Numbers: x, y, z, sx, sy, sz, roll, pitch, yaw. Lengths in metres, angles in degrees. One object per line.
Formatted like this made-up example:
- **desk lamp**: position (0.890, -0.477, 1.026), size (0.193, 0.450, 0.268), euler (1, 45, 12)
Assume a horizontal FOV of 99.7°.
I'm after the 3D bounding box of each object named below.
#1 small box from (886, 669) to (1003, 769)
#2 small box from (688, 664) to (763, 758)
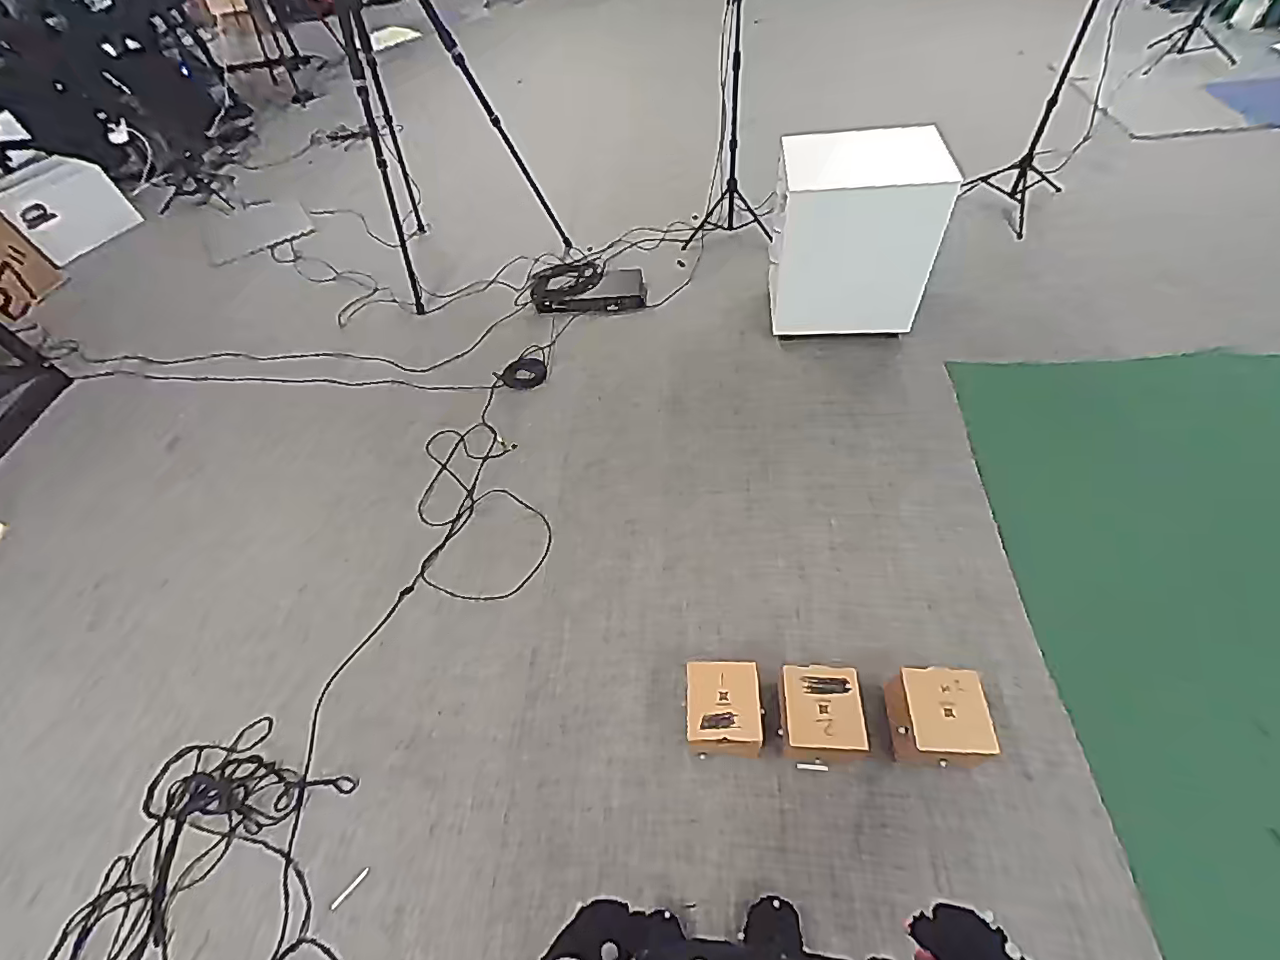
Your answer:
- **small box**: position (0.679, 0.546, 1.227), size (0.168, 0.176, 0.179), euler (0, 53, 7)
- **small box**: position (0.202, 0.552, 1.286), size (0.168, 0.176, 0.179), euler (-2, 52, 7)
